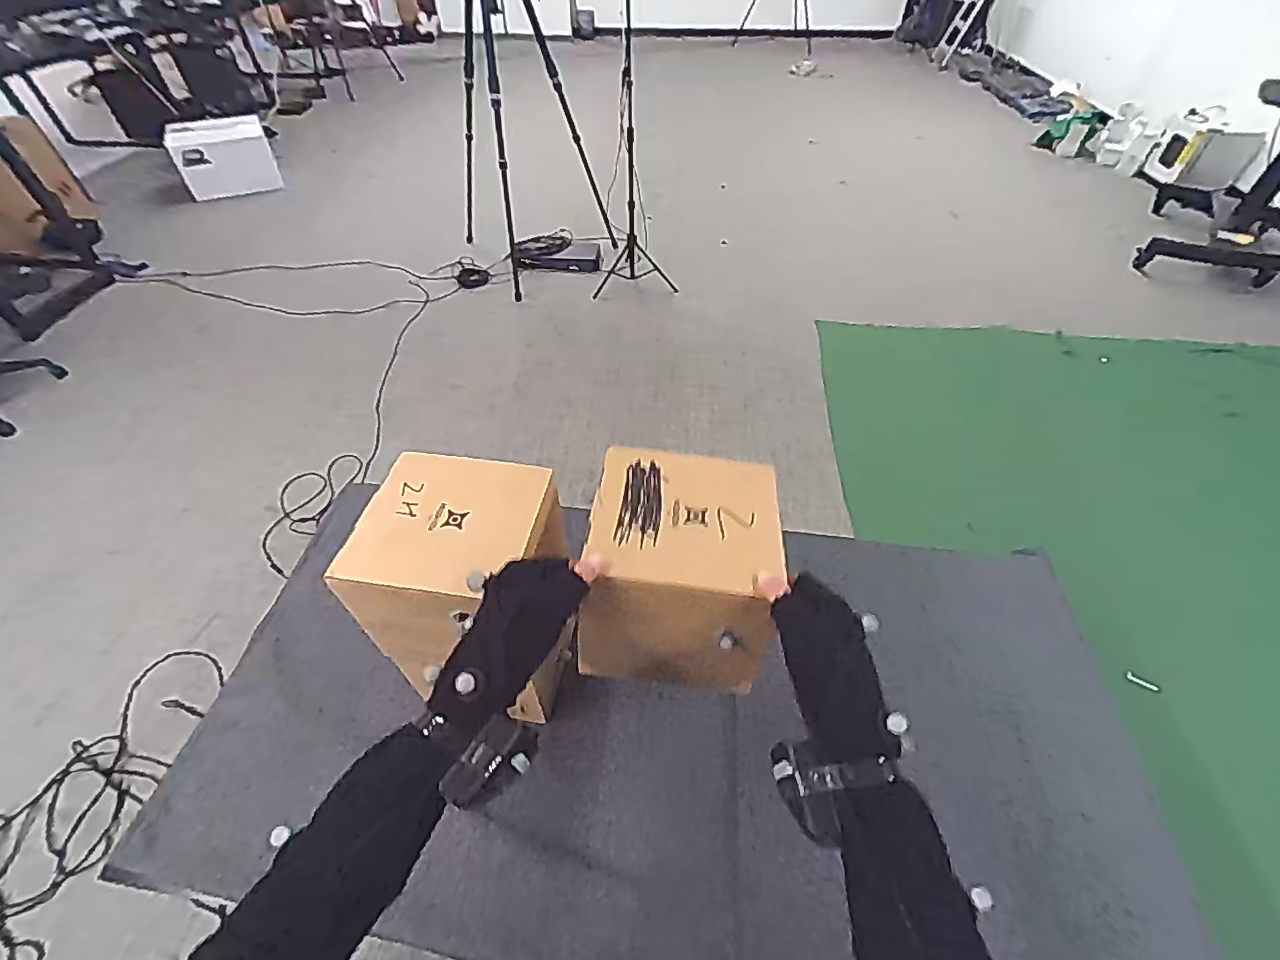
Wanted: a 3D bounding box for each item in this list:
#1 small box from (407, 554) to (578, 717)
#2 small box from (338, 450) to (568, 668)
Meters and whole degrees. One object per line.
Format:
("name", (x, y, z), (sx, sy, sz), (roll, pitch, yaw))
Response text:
("small box", (-0.191, 0.198, 0.729), (0.179, 0.176, 0.168), (8, 48, 6))
("small box", (-0.184, 0.092, 0.603), (0.179, 0.176, 0.168), (7, 47, 5))
